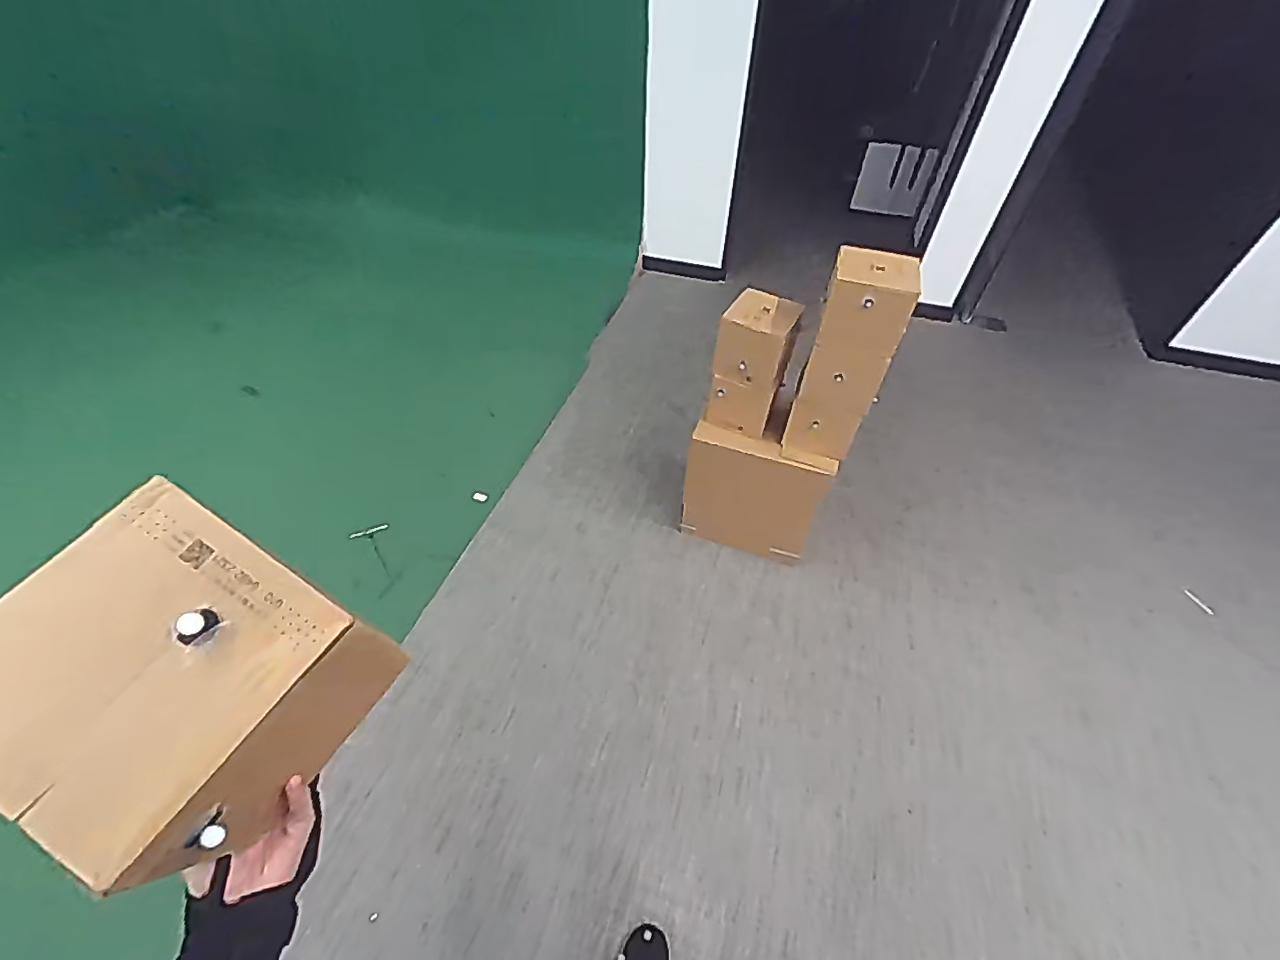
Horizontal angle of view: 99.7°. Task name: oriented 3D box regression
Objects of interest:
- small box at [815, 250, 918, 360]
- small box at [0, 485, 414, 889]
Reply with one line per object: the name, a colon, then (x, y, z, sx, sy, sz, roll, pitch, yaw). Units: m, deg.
small box: (0.512, -0.397, 1.233, 0.179, 0.176, 0.168, 15, 50, 11)
small box: (-0.293, 0.136, 0.389, 0.168, 0.179, 0.176, 33, 64, 7)
